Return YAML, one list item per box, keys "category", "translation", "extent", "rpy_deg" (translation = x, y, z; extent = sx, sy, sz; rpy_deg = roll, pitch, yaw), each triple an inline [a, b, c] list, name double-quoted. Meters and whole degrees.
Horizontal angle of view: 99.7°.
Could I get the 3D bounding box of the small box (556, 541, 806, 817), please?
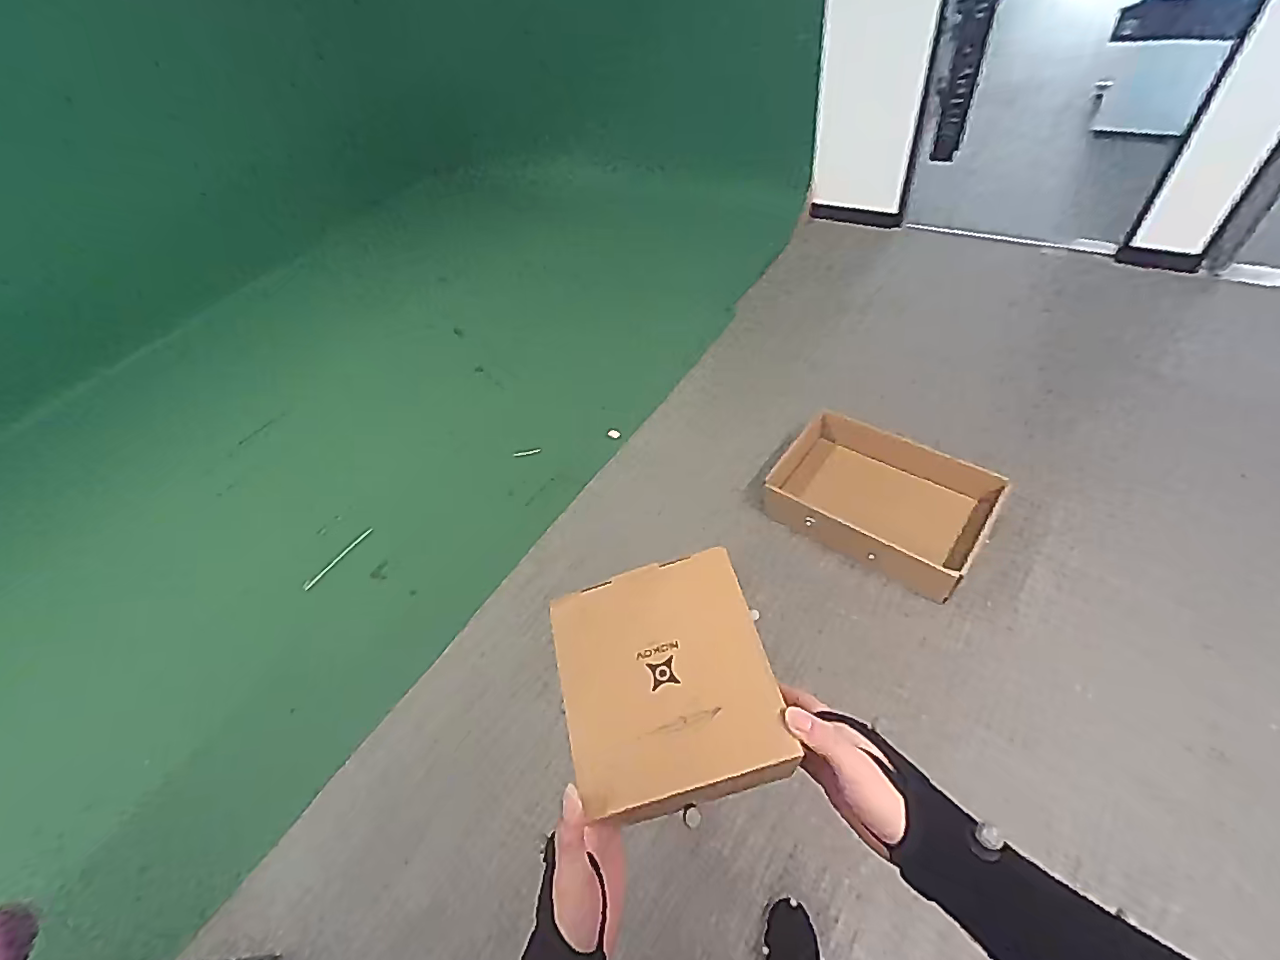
- category: "small box"
  translation: [0.035, 0.185, 0.491]
  extent: [0.168, 0.176, 0.179]
  rpy_deg: [-17, 55, 2]
